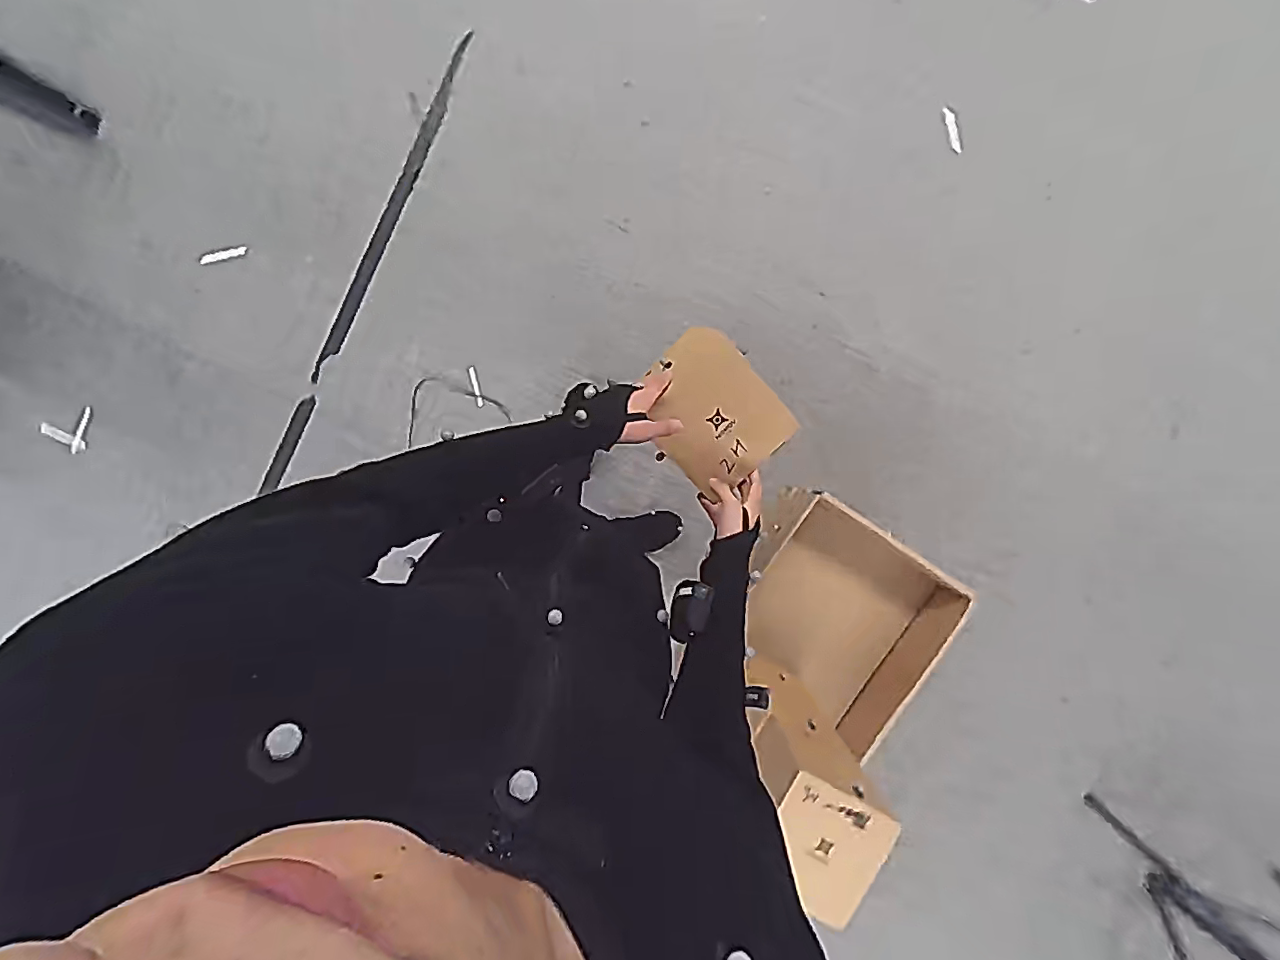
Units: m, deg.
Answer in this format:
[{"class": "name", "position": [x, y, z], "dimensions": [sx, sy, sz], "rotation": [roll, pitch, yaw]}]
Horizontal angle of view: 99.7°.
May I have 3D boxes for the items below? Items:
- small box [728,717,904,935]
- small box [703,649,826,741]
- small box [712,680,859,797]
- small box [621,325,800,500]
[{"class": "small box", "position": [0.245, 0.499, 0.806], "dimensions": [0.168, 0.176, 0.179], "rotation": [30, 93, -1]}, {"class": "small box", "position": [0.248, 0.480, 1.132], "dimensions": [0.179, 0.176, 0.168], "rotation": [32, 93, -1]}, {"class": "small box", "position": [0.246, 0.488, 0.969], "dimensions": [0.179, 0.176, 0.168], "rotation": [32, 93, -1]}, {"class": "small box", "position": [0.090, -0.106, 0.786], "dimensions": [0.168, 0.176, 0.179], "rotation": [-44, 110, 8]}]
